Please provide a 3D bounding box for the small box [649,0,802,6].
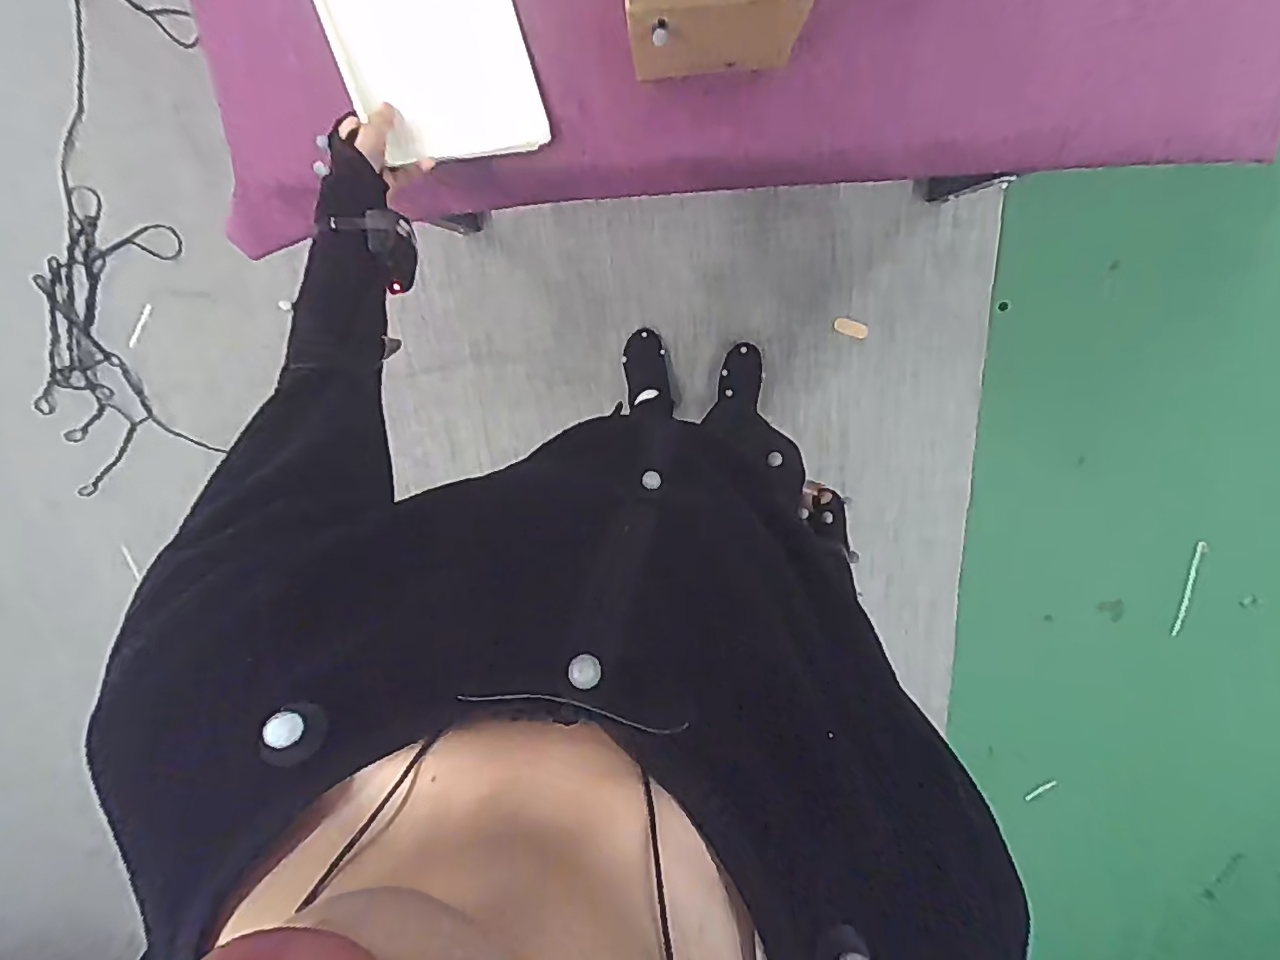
[{"bbox_3d":[0.065,-0.453,0.354,0.168,0.176,0.179,-2,107,3],"label":"small box"}]
